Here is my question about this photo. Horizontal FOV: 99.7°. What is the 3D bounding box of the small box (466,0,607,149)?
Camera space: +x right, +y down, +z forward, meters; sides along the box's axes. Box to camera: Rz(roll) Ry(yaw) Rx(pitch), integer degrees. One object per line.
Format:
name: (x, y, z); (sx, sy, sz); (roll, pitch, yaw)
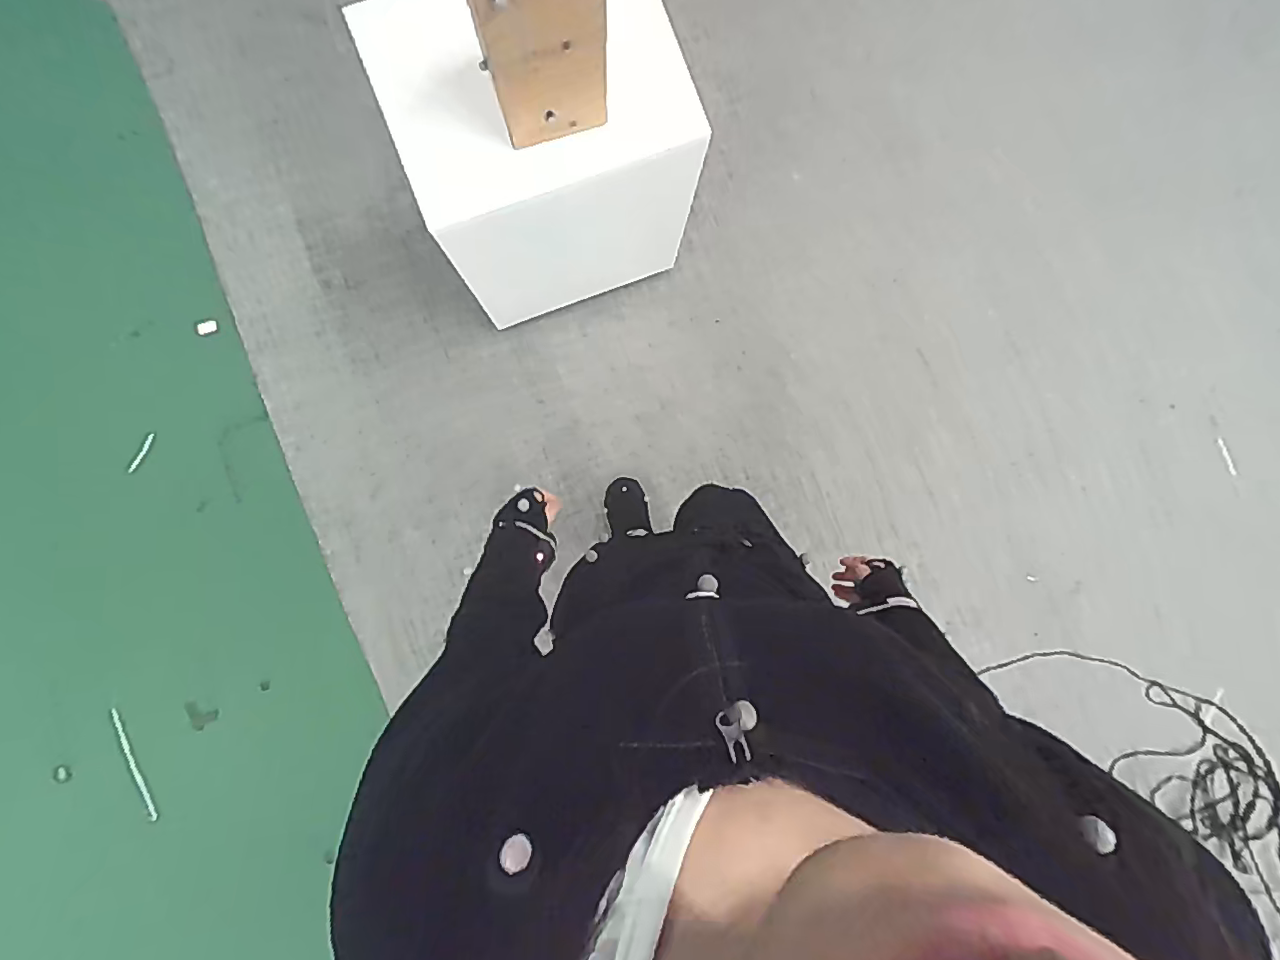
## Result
small box: (-0.155, -0.651, 0.816); (0.168, 0.176, 0.179); (-19, 89, -3)
